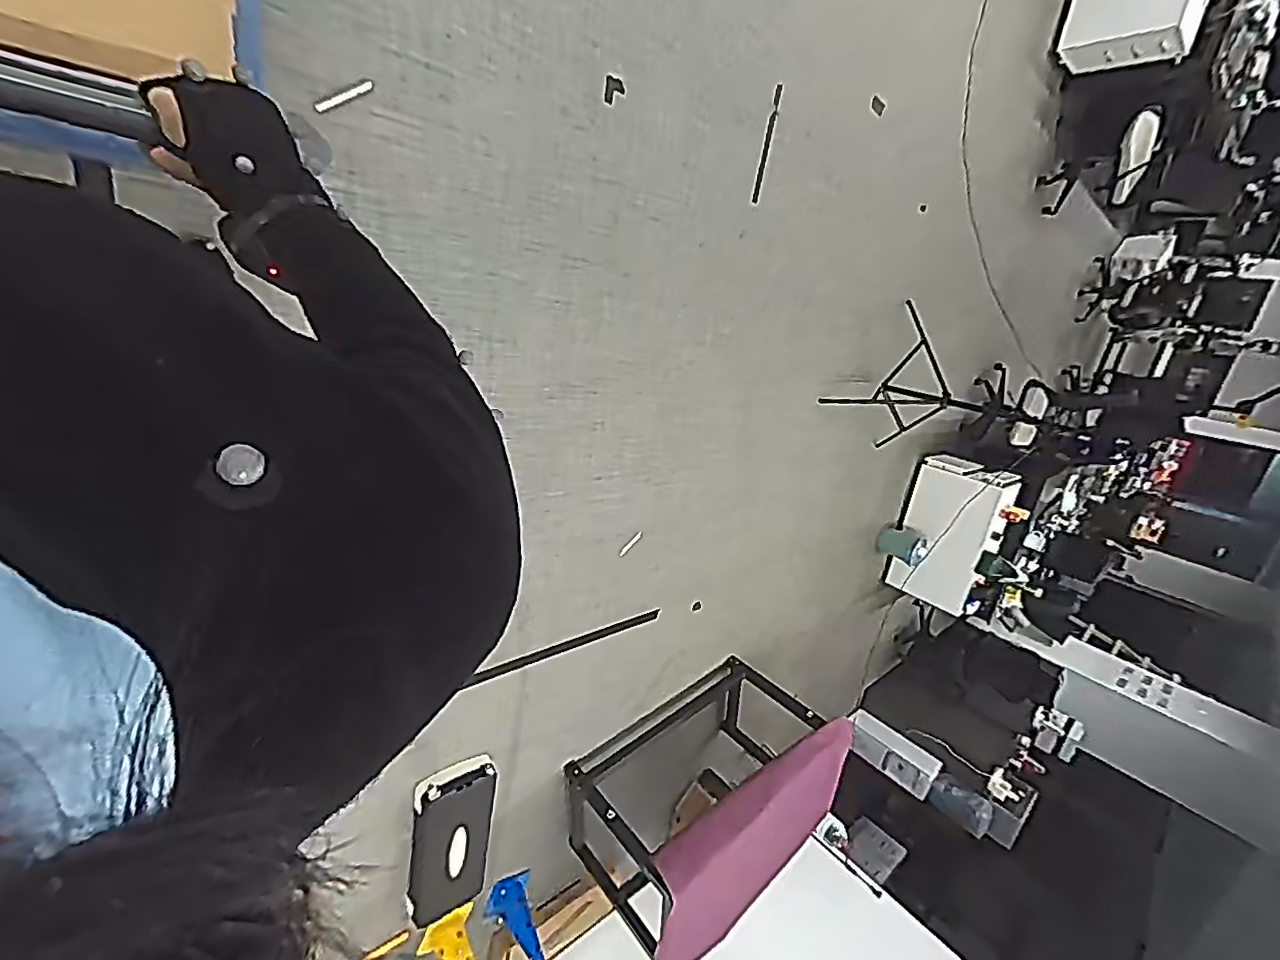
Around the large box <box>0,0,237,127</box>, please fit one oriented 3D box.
[{"bbox_3d":[-0.787,-0.689,0.674,0.408,0.320,0.320,-9,116,-42],"label":"large box"}]
